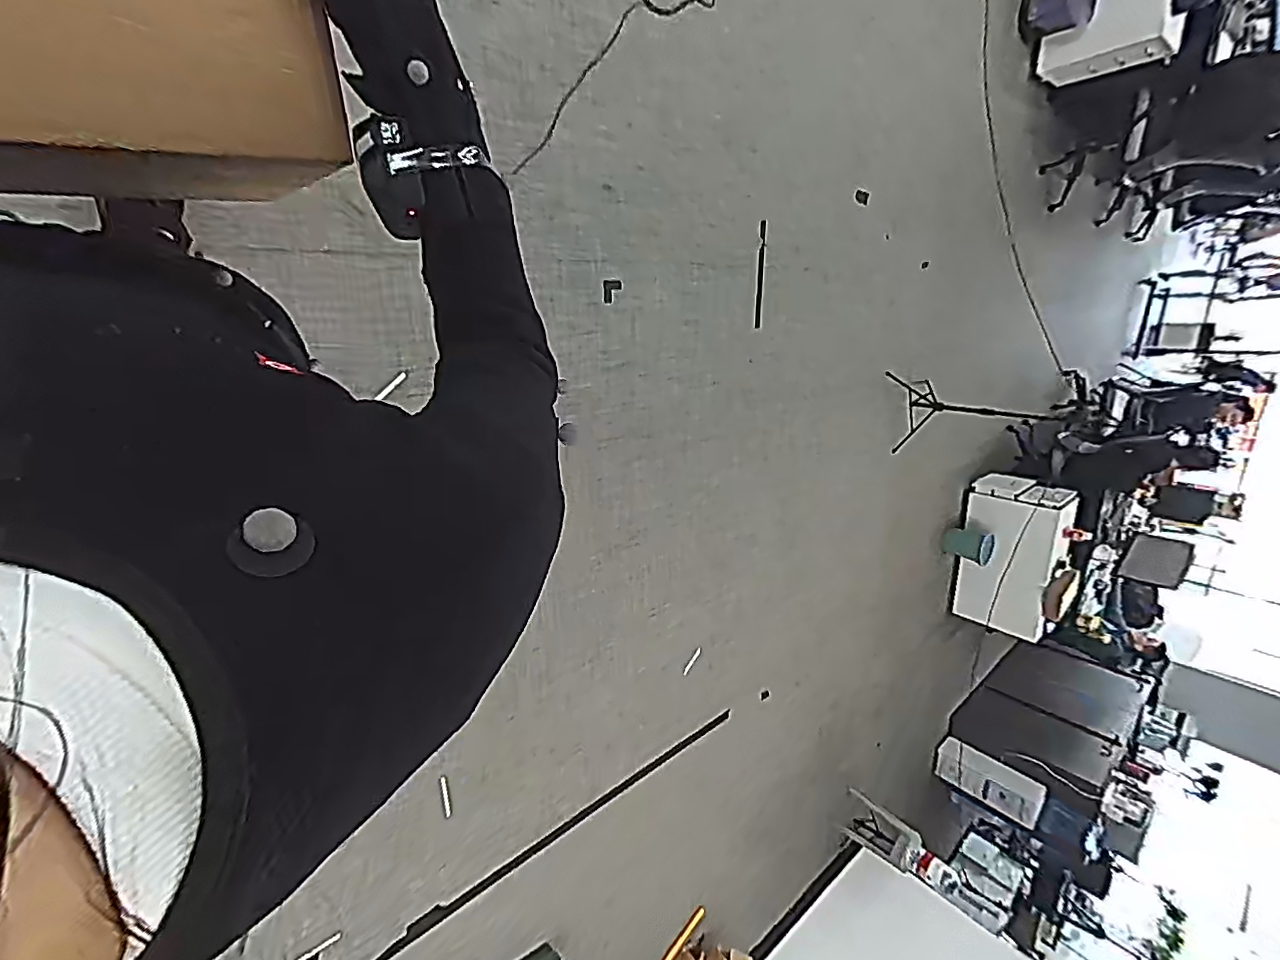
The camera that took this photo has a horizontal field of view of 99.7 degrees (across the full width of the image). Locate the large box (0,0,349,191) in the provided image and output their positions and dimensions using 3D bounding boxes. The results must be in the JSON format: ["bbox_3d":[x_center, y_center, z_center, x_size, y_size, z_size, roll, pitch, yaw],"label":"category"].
[{"bbox_3d":[-0.462,-0.357,0.317,0.408,0.320,0.320,-21,121,-36],"label":"large box"}]
